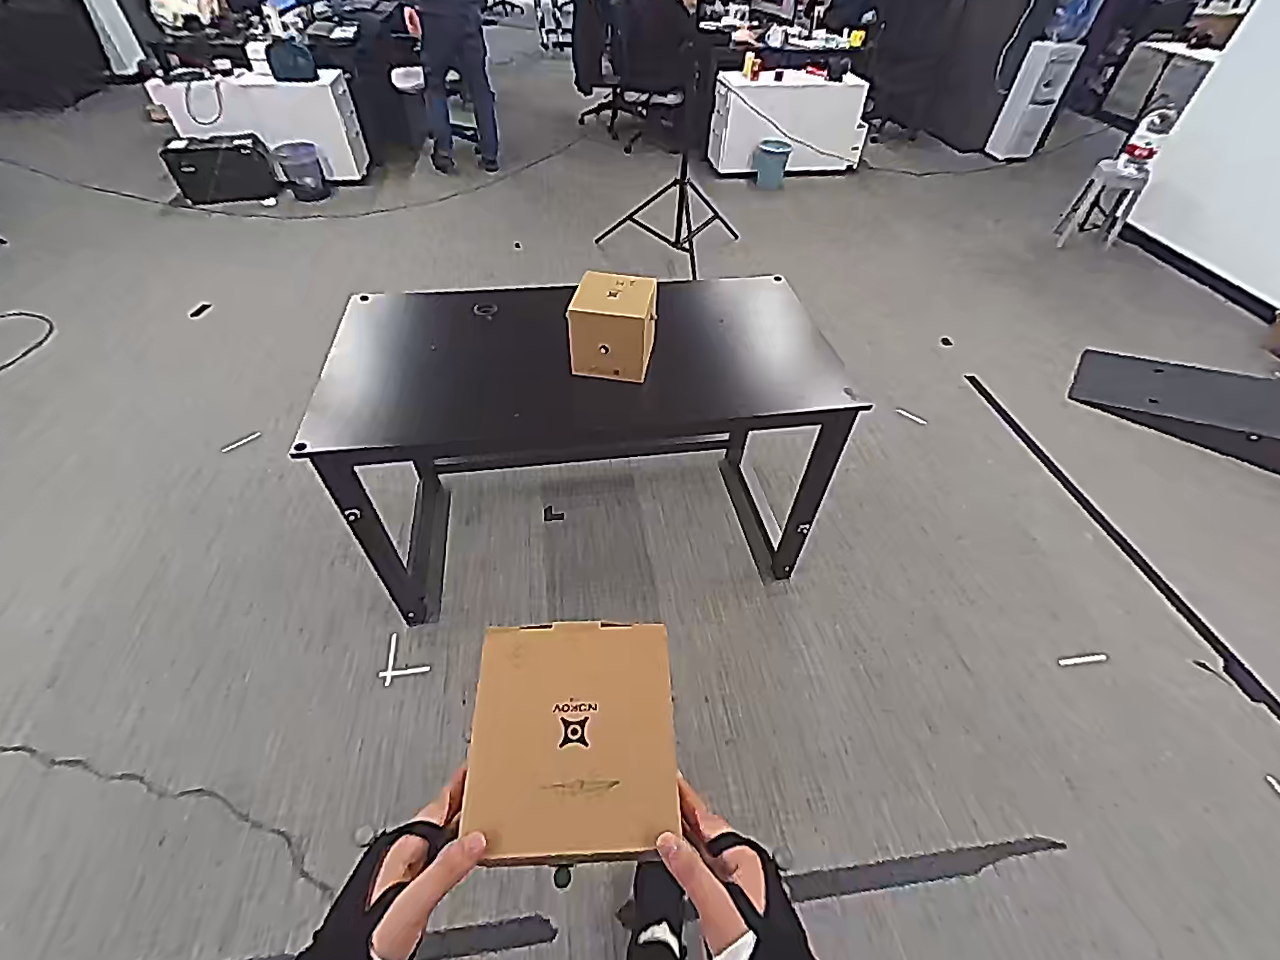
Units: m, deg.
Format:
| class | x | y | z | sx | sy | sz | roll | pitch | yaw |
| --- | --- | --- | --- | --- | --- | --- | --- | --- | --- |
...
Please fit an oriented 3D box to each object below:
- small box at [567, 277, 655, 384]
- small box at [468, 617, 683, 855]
| class | x | y | z | sx | sy | sz | roll | pitch | yaw |
| --- | --- | --- | --- | --- | --- | --- | --- | --- | --- |
| small box | -0.060 | -0.340 | 1.238 | 0.168 | 0.176 | 0.179 | 8 | 47 | 5 |
| small box | -0.056 | 0.247 | 0.520 | 0.168 | 0.176 | 0.179 | 0 | 54 | -4 |
